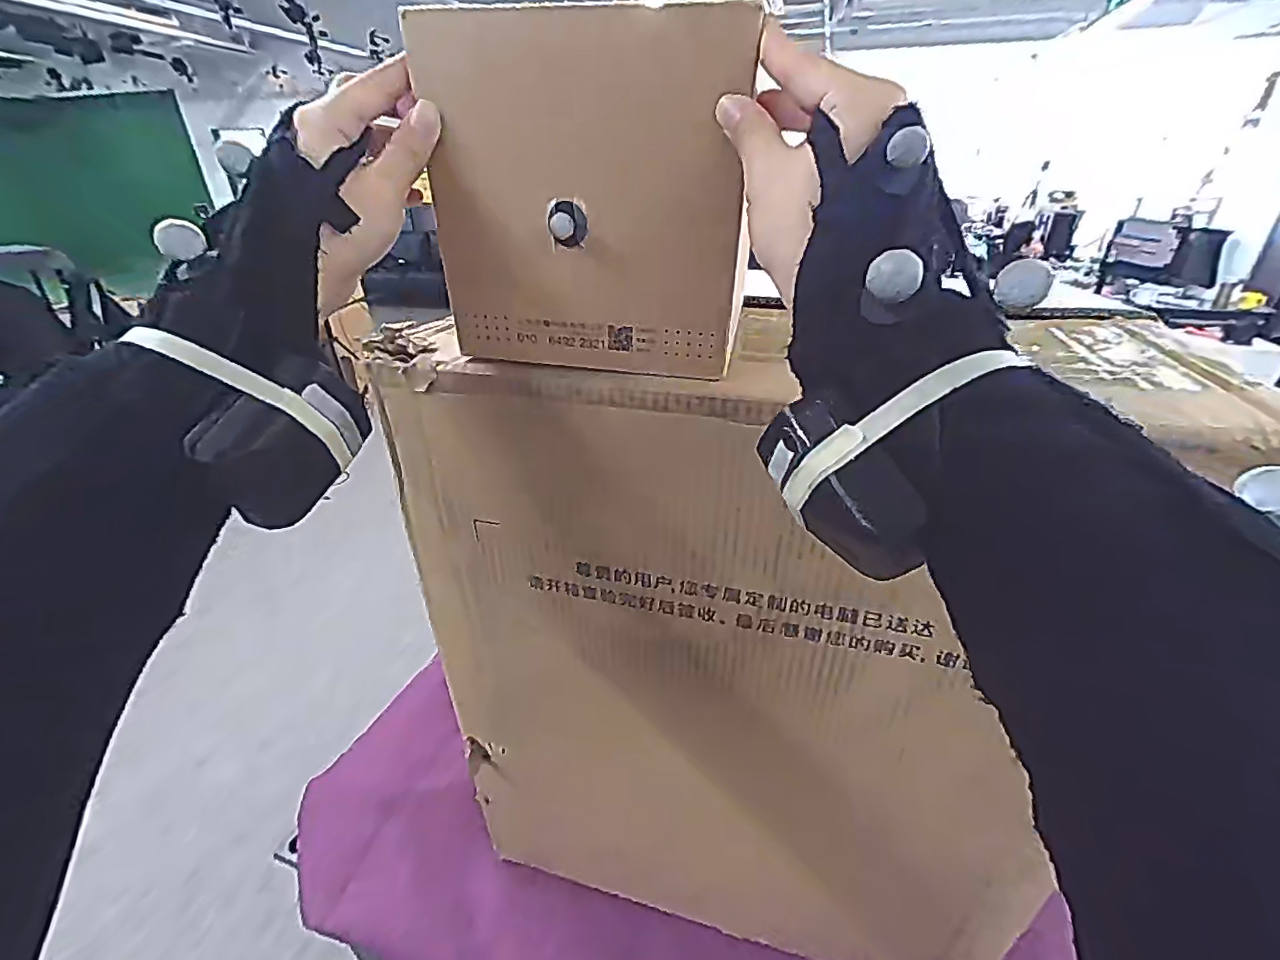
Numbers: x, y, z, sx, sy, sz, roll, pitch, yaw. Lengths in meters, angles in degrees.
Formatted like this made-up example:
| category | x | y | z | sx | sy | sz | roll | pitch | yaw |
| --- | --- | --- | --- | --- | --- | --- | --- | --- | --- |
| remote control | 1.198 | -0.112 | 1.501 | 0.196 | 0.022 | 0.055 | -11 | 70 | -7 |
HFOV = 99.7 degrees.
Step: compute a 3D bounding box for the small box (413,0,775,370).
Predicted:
| category | x | y | z | sx | sy | sz | roll | pitch | yaw |
| --- | --- | --- | --- | --- | --- | --- | --- | --- | --- |
| small box | -0.010 | -0.181 | 0.349 | 0.168 | 0.176 | 0.179 | 8 | 34 | 10 |
